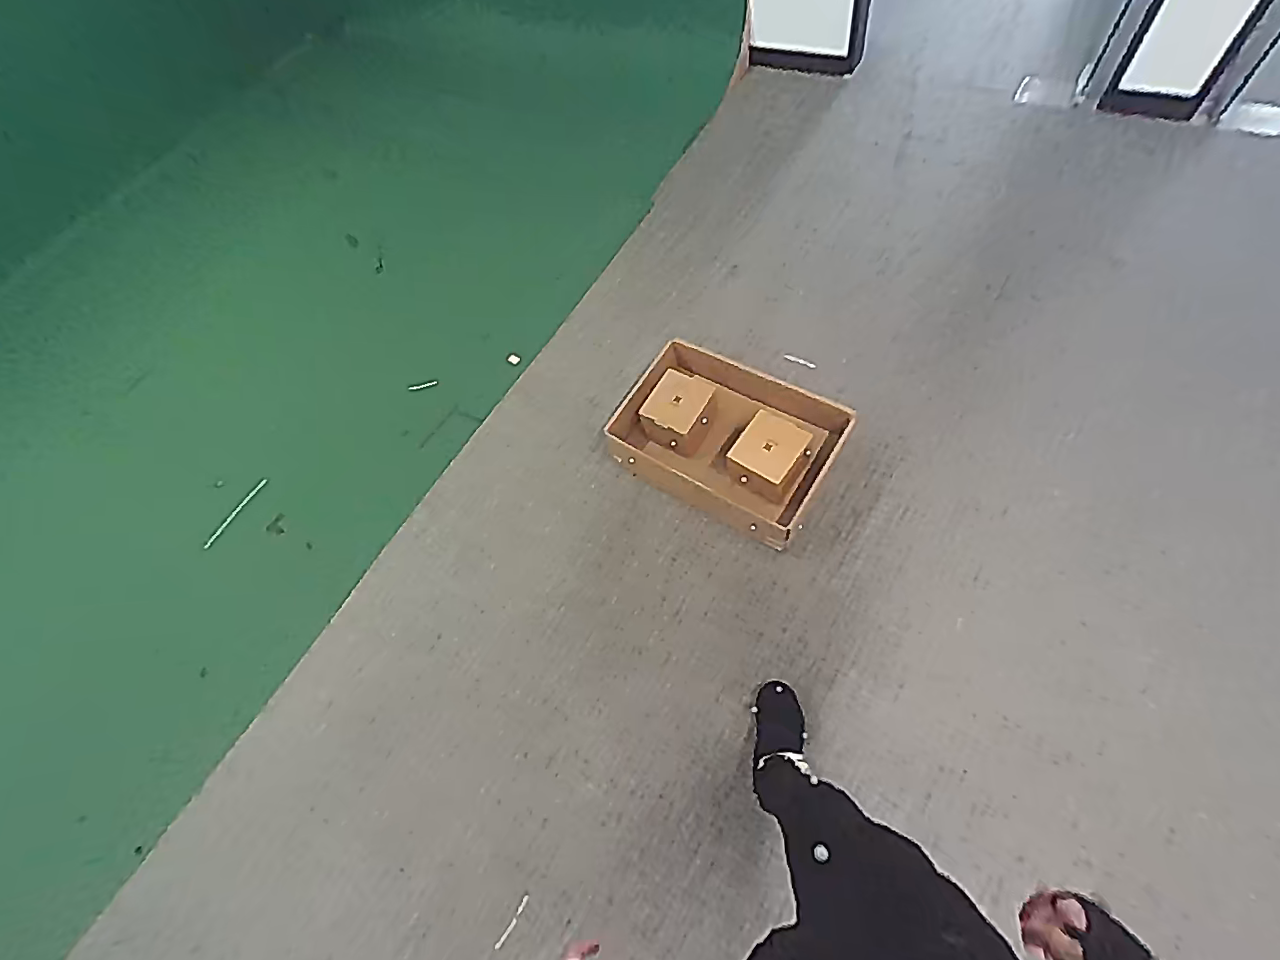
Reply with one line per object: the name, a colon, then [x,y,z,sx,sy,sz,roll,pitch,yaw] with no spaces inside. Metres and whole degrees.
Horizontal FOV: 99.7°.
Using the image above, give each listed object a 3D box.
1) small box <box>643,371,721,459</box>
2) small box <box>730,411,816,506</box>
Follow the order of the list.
small box: [0.137,-0.191,1.642,0.168,0.176,0.179,28,74,22]
small box: [0.376,-0.054,1.522,0.168,0.176,0.179,32,76,25]
